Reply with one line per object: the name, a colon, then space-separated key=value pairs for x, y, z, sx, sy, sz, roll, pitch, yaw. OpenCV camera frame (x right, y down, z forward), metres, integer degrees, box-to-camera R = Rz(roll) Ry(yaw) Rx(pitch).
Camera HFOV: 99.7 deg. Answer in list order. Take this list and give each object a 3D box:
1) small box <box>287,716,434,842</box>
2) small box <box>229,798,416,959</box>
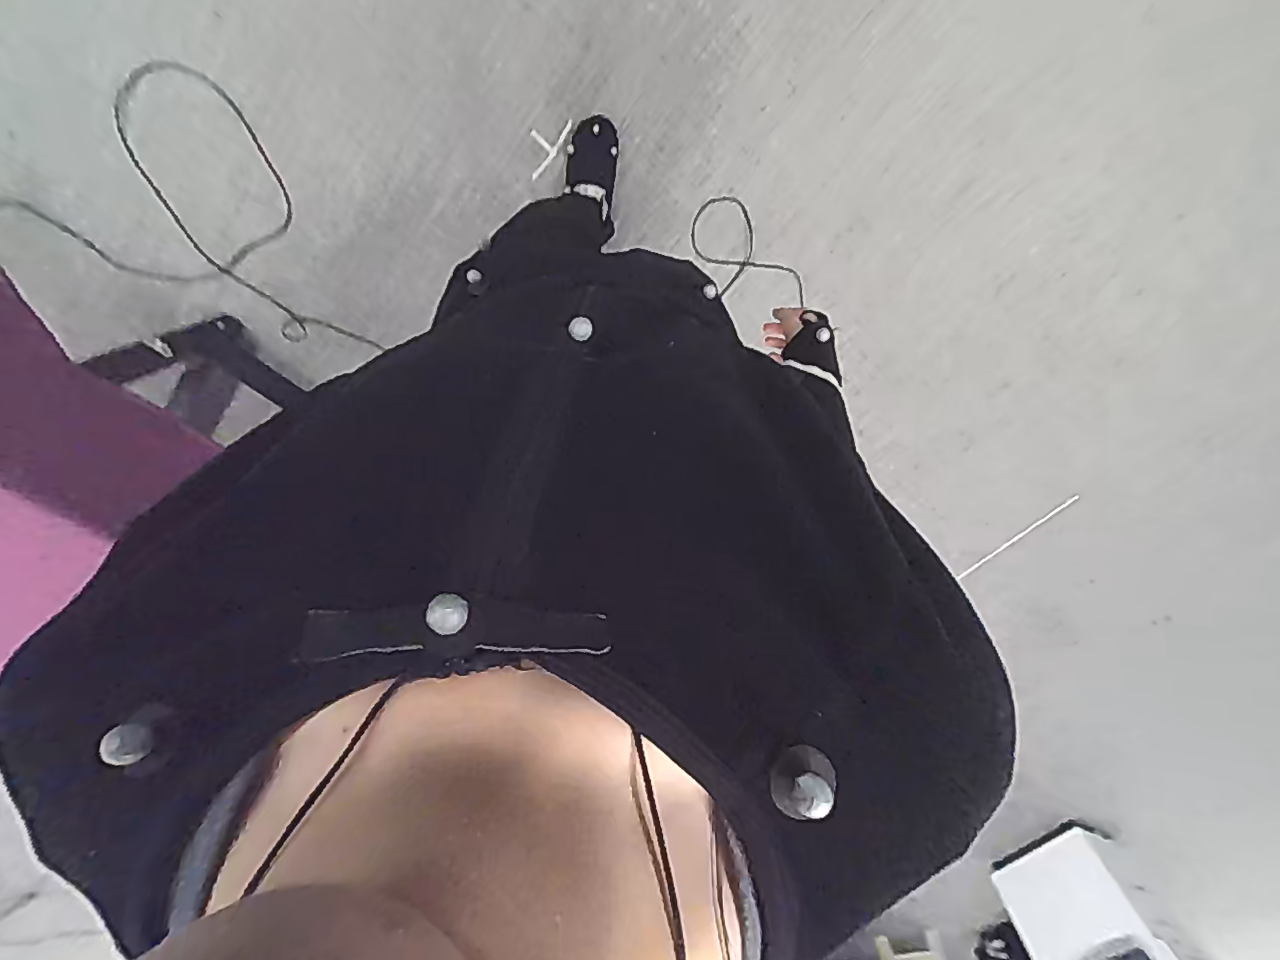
small box: x=-0.512 y=0.581 z=1.015 sx=0.168 sy=0.176 sz=0.179 roll=32 pitch=115 yaw=-16
small box: x=-0.494 y=0.645 z=0.863 sx=0.179 sy=0.176 sz=0.168 roll=31 pitch=115 yaw=-16
